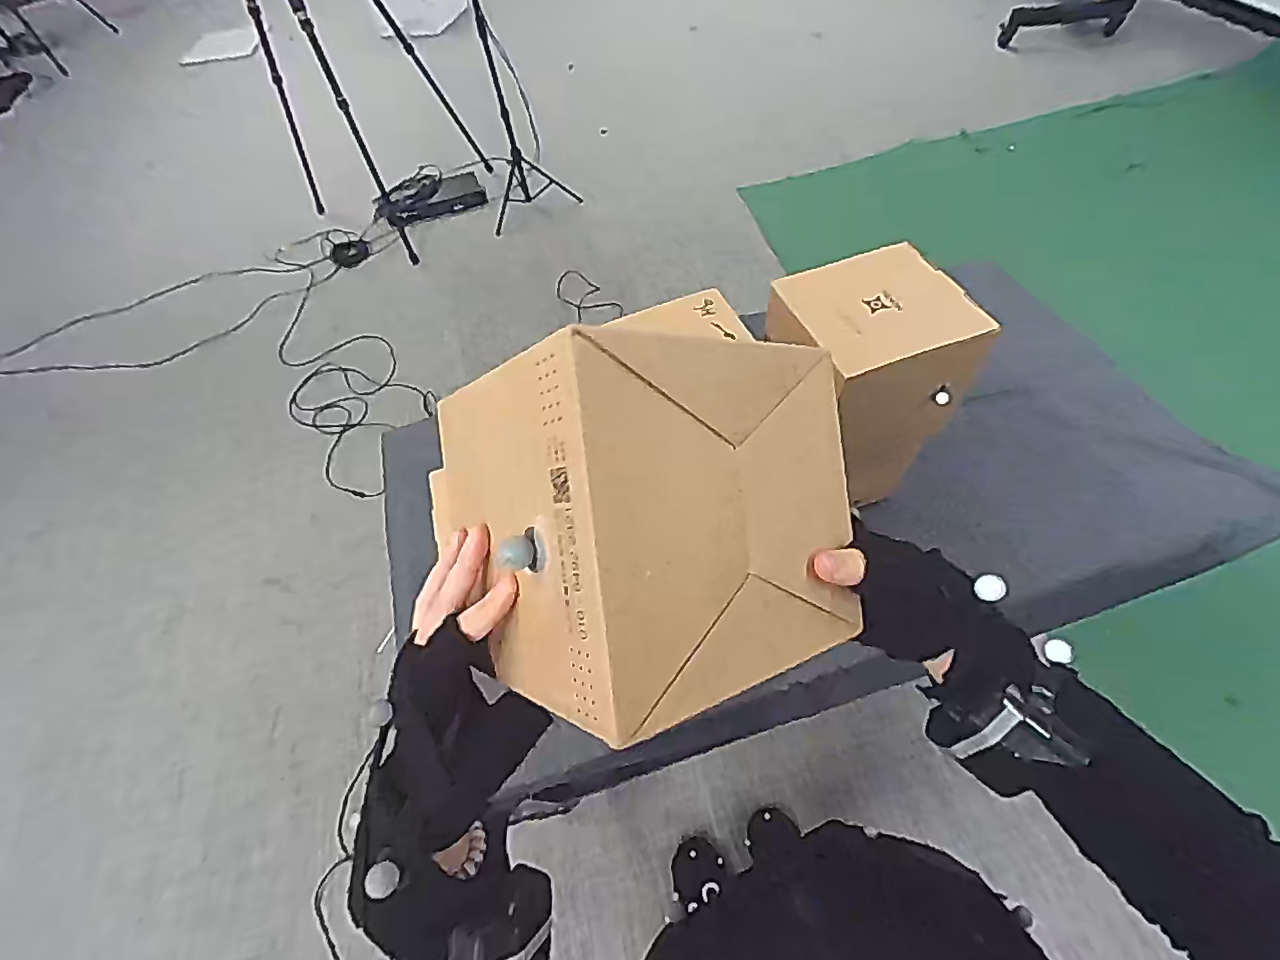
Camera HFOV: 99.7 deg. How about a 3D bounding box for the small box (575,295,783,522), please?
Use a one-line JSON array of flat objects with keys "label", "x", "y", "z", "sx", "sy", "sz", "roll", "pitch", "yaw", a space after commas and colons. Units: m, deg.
[{"label": "small box", "x": 0.045, "y": -0.076, "z": 0.632, "sx": 0.179, "sy": 0.176, "sz": 0.168, "roll": -22, "pitch": 58, "yaw": -7}]
